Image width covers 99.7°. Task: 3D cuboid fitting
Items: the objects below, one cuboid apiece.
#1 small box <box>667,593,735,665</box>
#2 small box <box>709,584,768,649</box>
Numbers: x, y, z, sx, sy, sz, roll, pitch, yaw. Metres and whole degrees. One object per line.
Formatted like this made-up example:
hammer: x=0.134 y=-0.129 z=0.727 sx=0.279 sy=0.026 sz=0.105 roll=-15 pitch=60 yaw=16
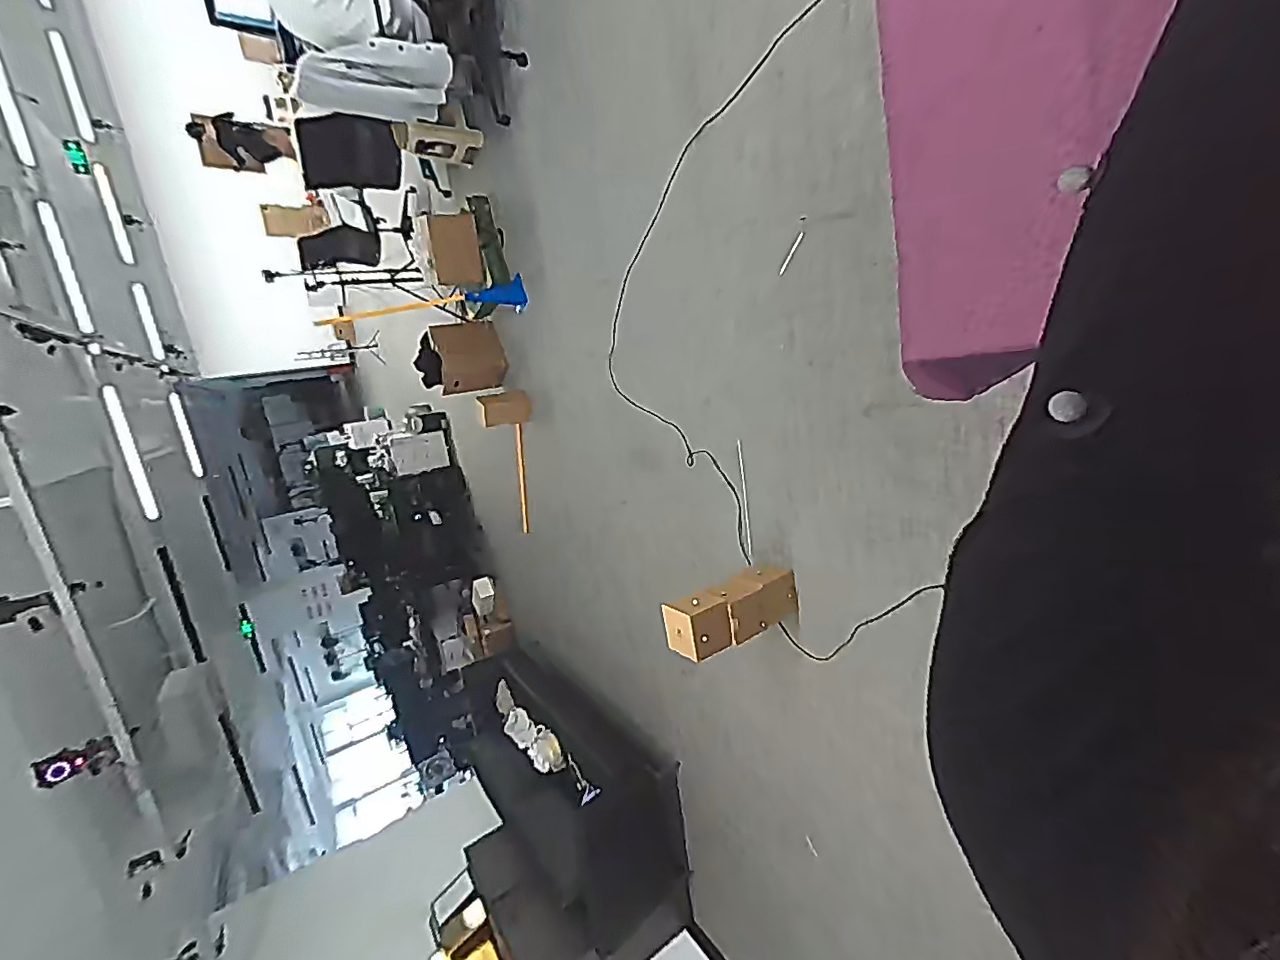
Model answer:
small box: x=0.219 y=0.522 z=1.928 sx=0.168 sy=0.176 sz=0.179 roll=7 pitch=110 yaw=58
small box: x=0.361 y=0.499 z=2.008 sx=0.179 sy=0.176 sz=0.168 roll=7 pitch=108 yaw=58
